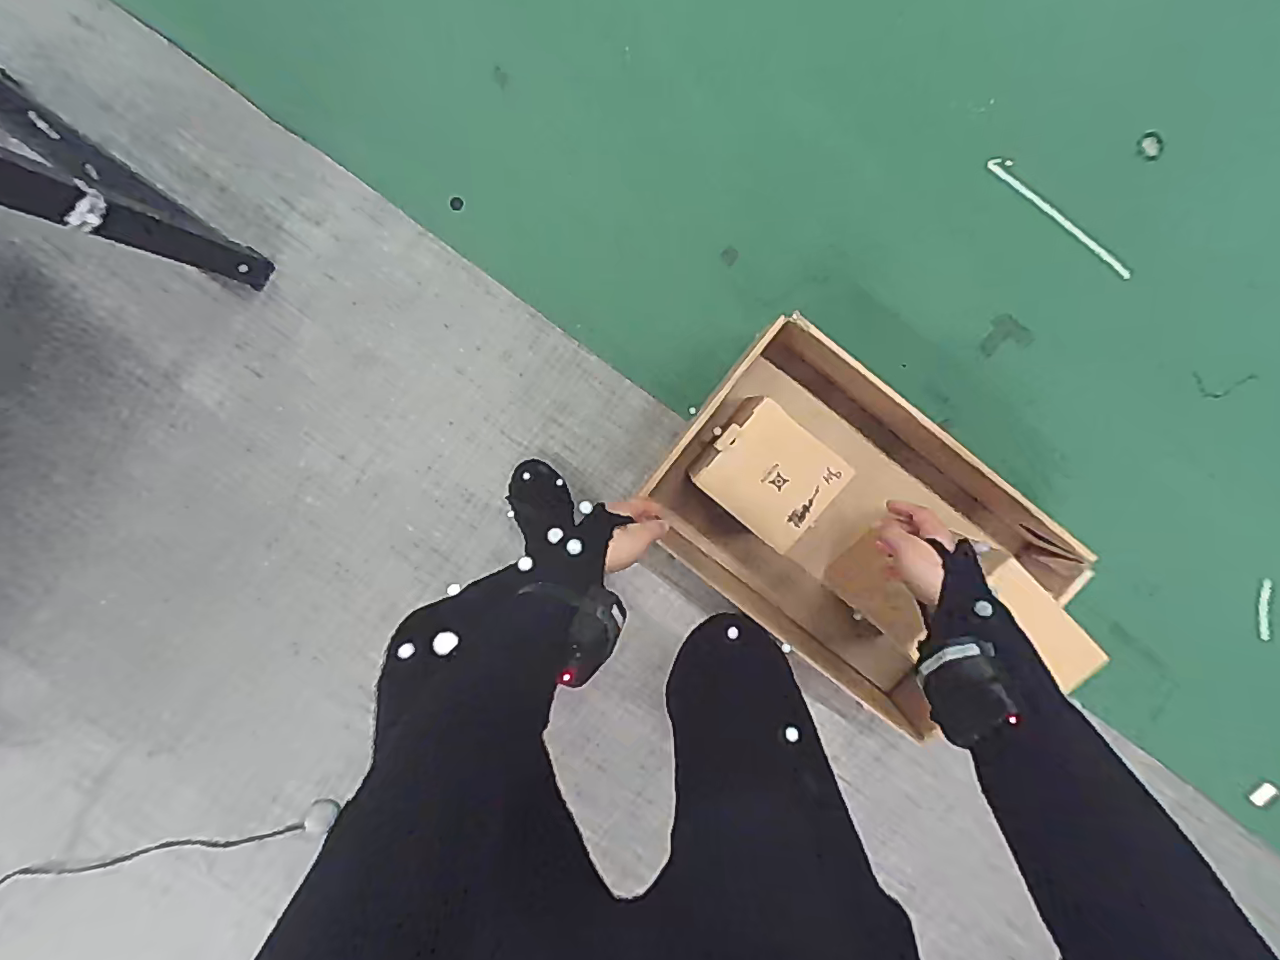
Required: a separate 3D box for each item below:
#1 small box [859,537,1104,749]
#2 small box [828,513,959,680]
[{"bbox_3d":[0.431,0.200,0.715,0.168,0.176,0.179,-44,94,6],"label":"small box"},{"bbox_3d":[0.438,0.176,0.877,0.179,0.176,0.168,-44,93,7],"label":"small box"}]
